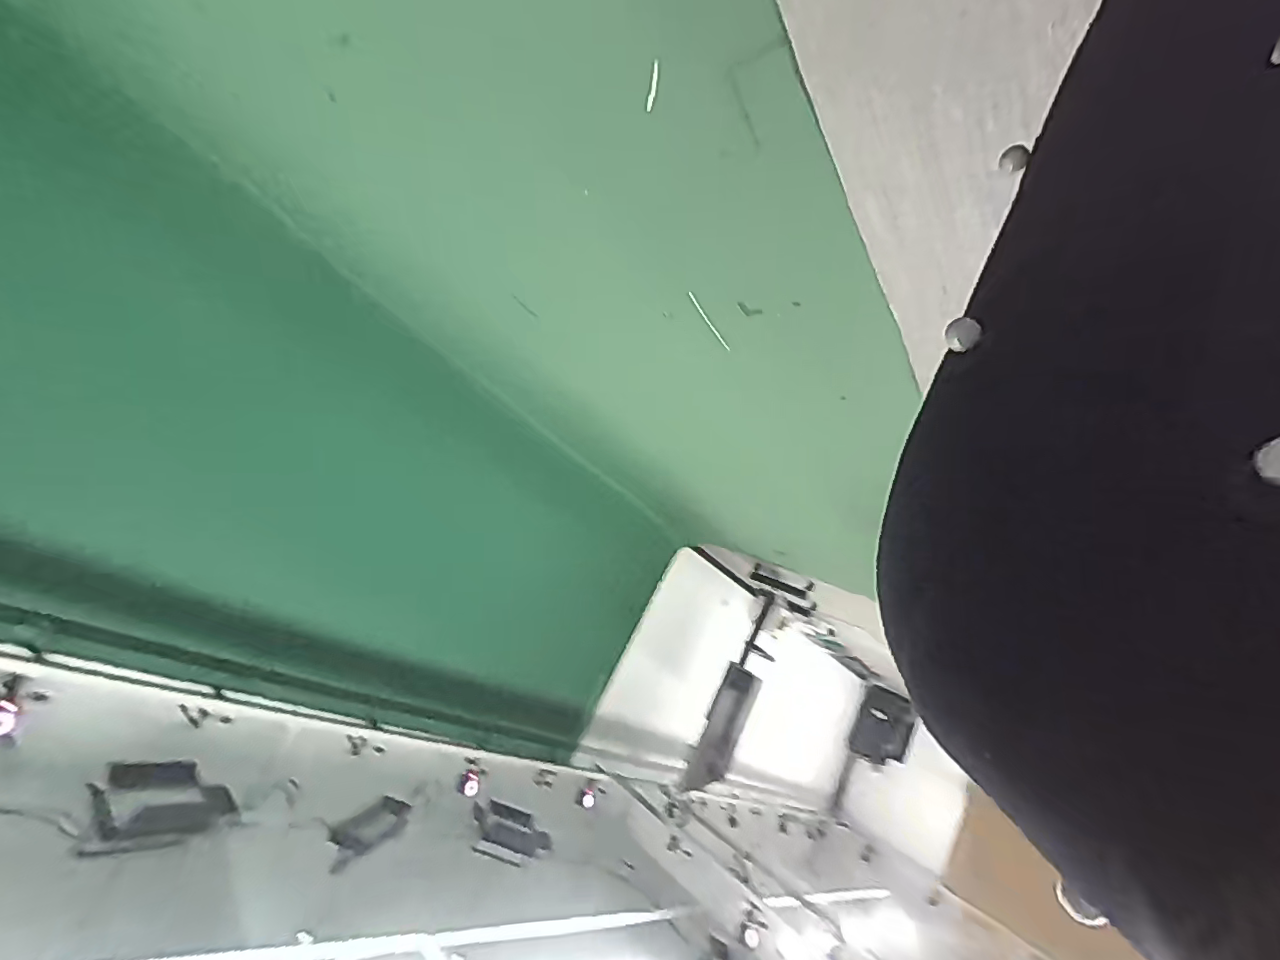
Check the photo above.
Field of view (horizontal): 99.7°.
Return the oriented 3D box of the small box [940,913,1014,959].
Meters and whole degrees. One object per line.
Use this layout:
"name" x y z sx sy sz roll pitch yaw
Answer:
"small box" 1.131 1.599 1.815 0.168 0.176 0.179 16 161 47
